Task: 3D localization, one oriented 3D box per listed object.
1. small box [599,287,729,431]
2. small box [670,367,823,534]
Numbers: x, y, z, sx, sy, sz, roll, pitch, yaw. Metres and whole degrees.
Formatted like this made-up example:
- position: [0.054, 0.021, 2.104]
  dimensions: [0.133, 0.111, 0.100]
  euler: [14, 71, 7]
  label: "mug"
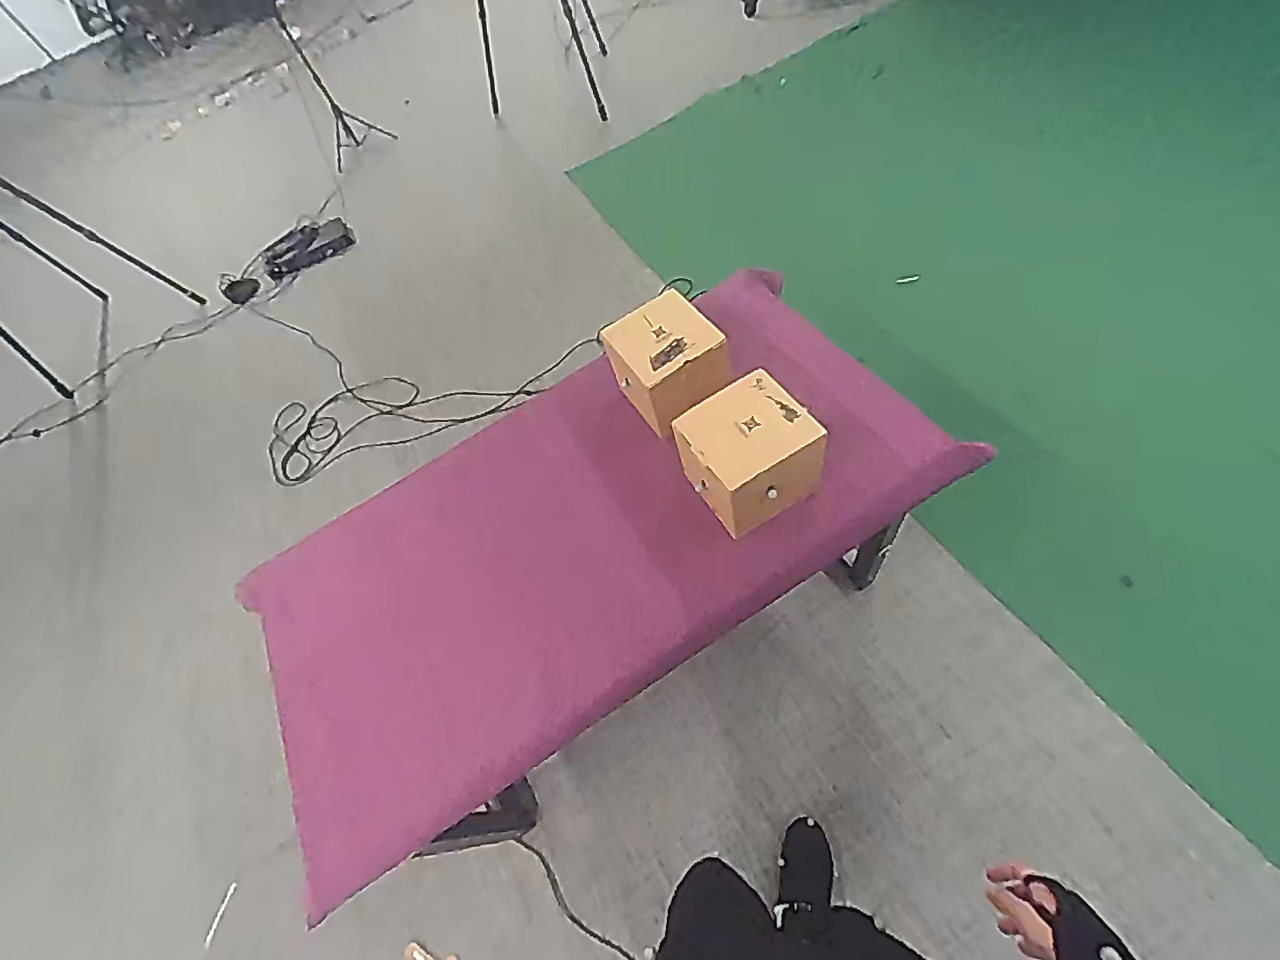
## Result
- position: [0.052, -0.215, 1.011]
  dimensions: [0.168, 0.176, 0.179]
  euler: [-33, 58, -6]
  label: "small box"
- position: [0.175, -0.041, 0.878]
  dimensions: [0.179, 0.176, 0.168]
  euler: [-31, 57, -4]
  label: "small box"
